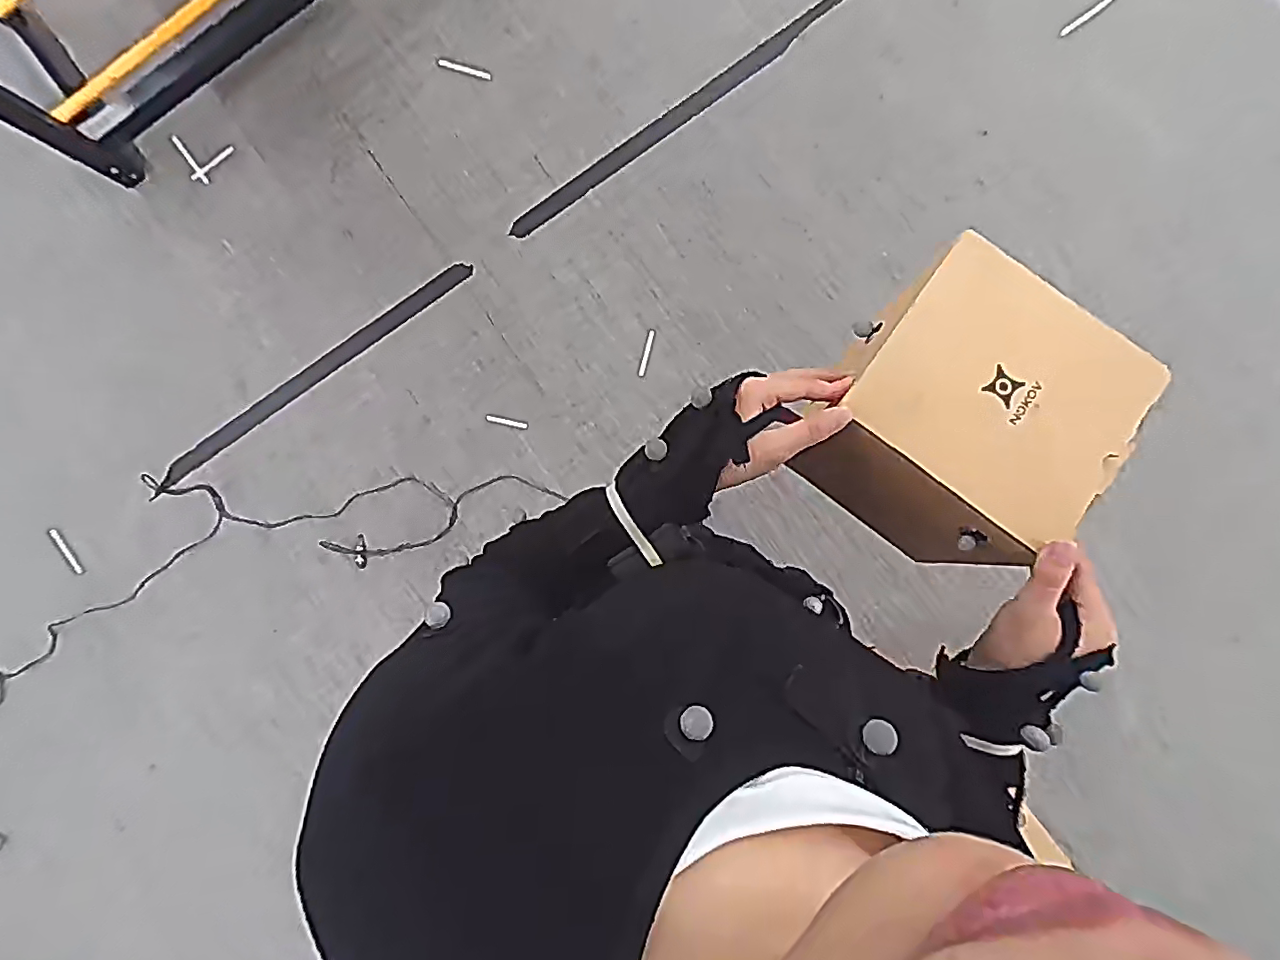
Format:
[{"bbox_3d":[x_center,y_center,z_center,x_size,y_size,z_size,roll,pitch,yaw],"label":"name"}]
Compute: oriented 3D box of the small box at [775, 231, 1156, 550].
[{"bbox_3d":[0.241,-0.055,0.450,0.179,0.176,0.168,36,83,1],"label":"small box"}]
